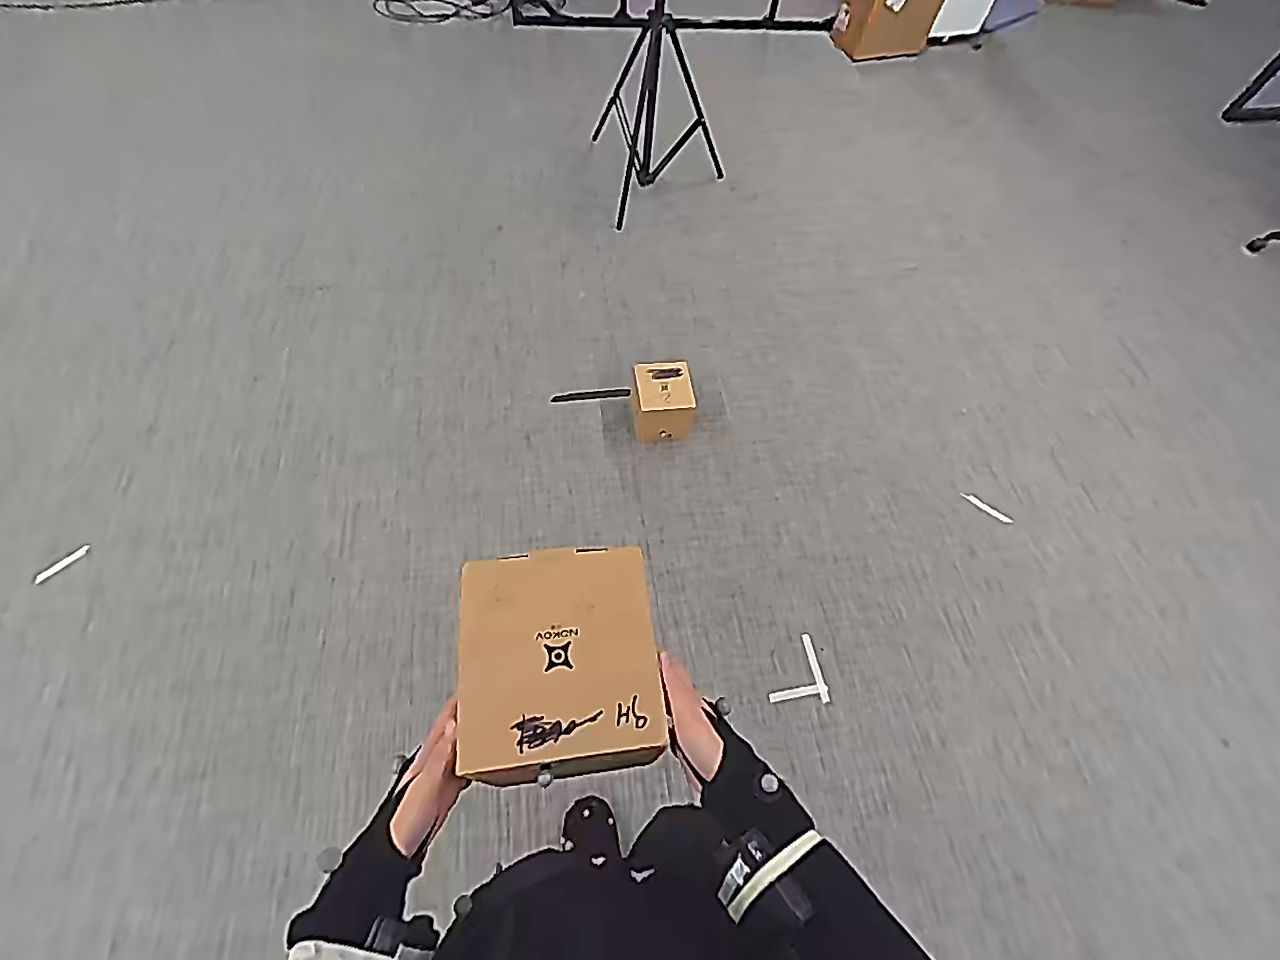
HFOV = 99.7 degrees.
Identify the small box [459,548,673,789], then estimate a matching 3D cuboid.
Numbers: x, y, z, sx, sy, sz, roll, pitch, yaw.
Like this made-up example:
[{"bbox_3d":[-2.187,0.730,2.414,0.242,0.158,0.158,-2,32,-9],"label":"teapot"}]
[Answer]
[{"bbox_3d":[-0.071,0.185,0.523,0.168,0.176,0.179,-5,58,-7],"label":"small box"}]
